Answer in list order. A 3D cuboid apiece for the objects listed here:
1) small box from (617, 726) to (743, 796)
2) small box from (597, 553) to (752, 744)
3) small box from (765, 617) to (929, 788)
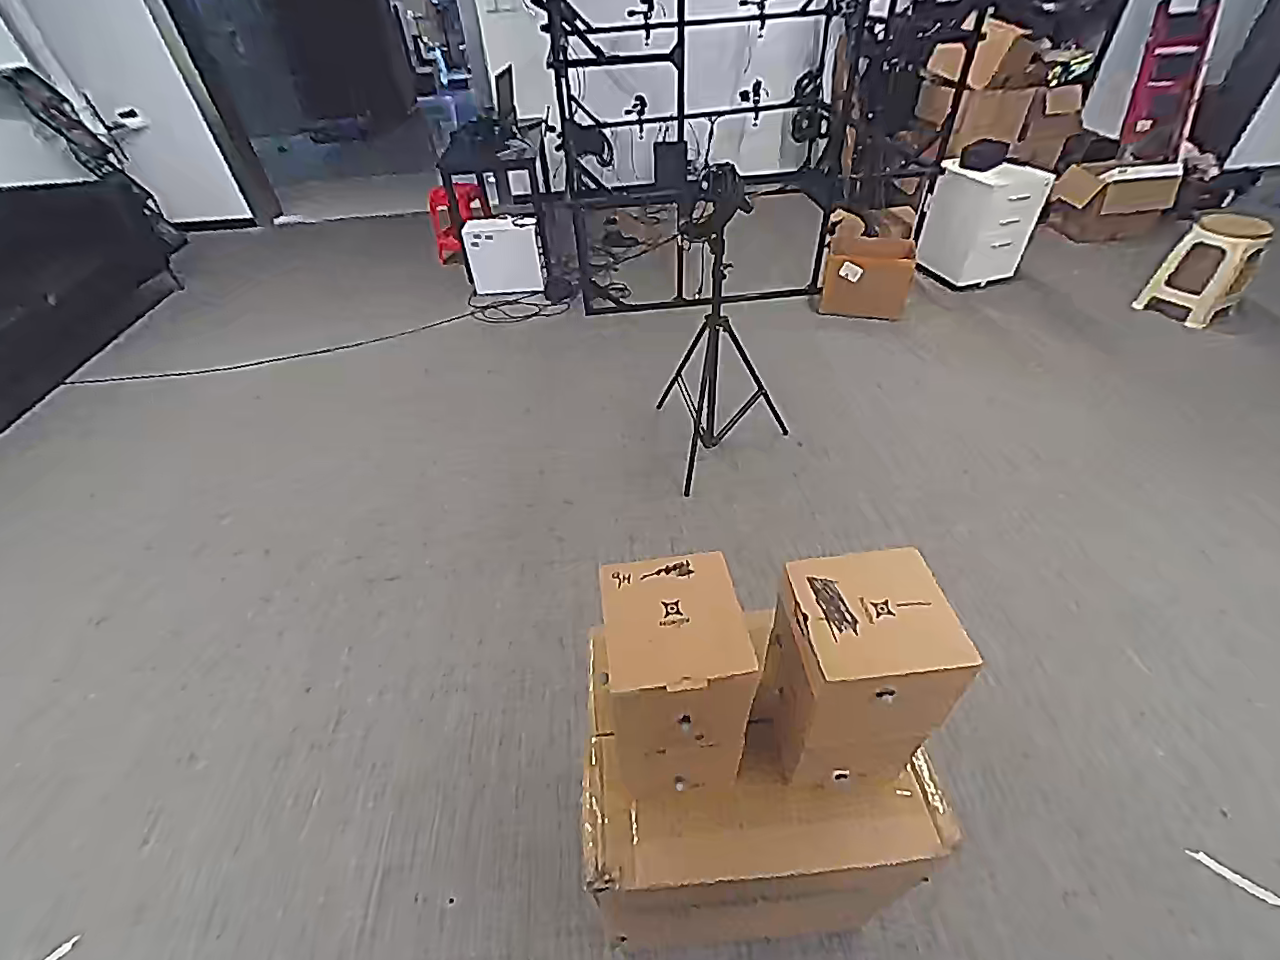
[{"bbox_3d":[0.047,0.344,0.810,0.168,0.176,0.179,-6,43,-3],"label":"small box"},{"bbox_3d":[0.039,0.222,0.700,0.168,0.176,0.179,-7,44,-4],"label":"small box"},{"bbox_3d":[0.290,0.331,0.808,0.168,0.176,0.179,-7,44,0],"label":"small box"}]
